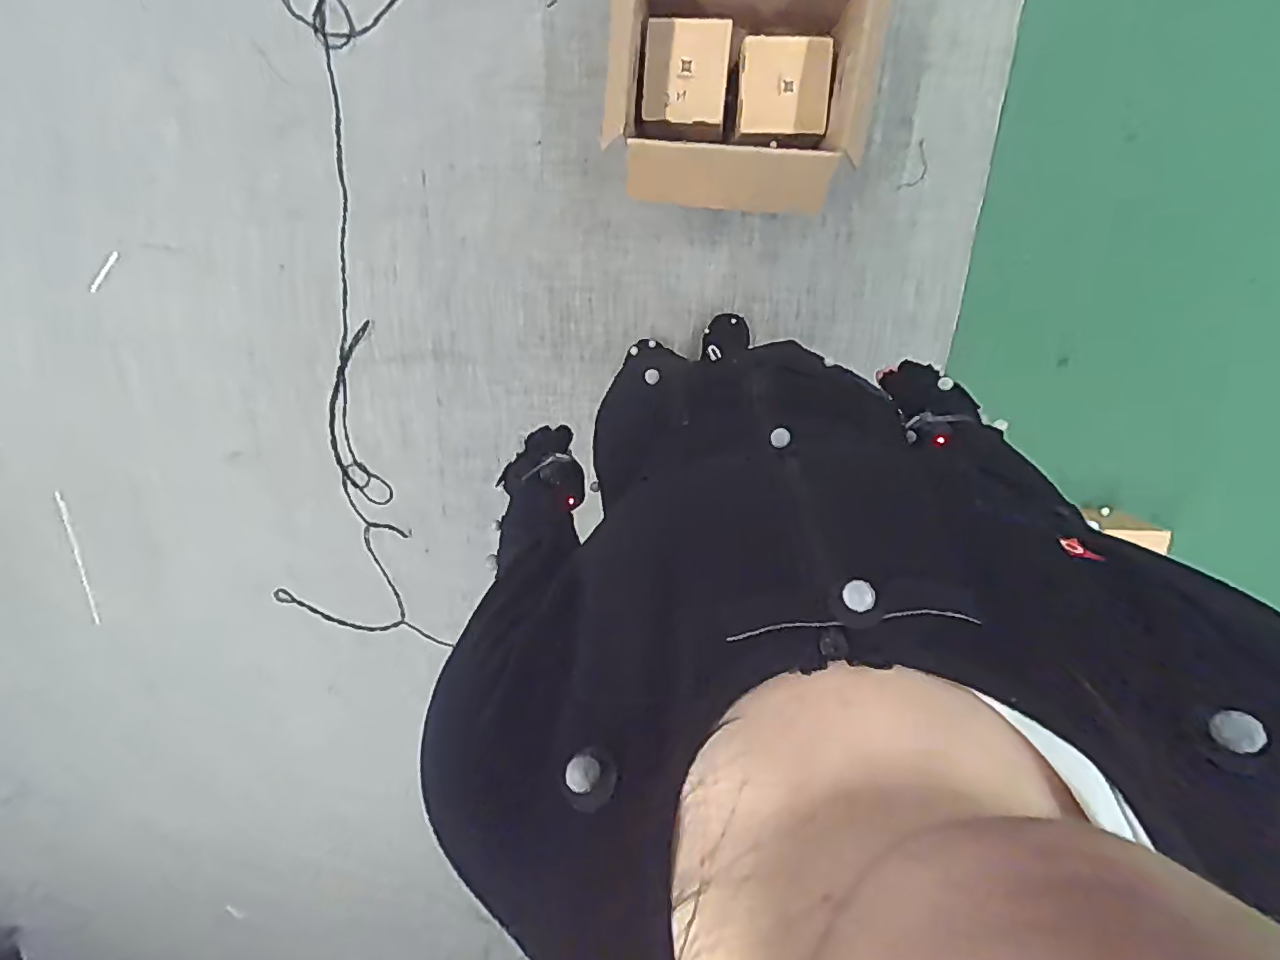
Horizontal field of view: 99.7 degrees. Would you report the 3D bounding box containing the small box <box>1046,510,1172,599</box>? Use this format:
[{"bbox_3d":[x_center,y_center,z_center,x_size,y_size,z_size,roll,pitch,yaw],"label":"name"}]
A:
[{"bbox_3d":[1.210,0.190,1.412,0.168,0.176,0.179,2,106,3],"label":"small box"}]
